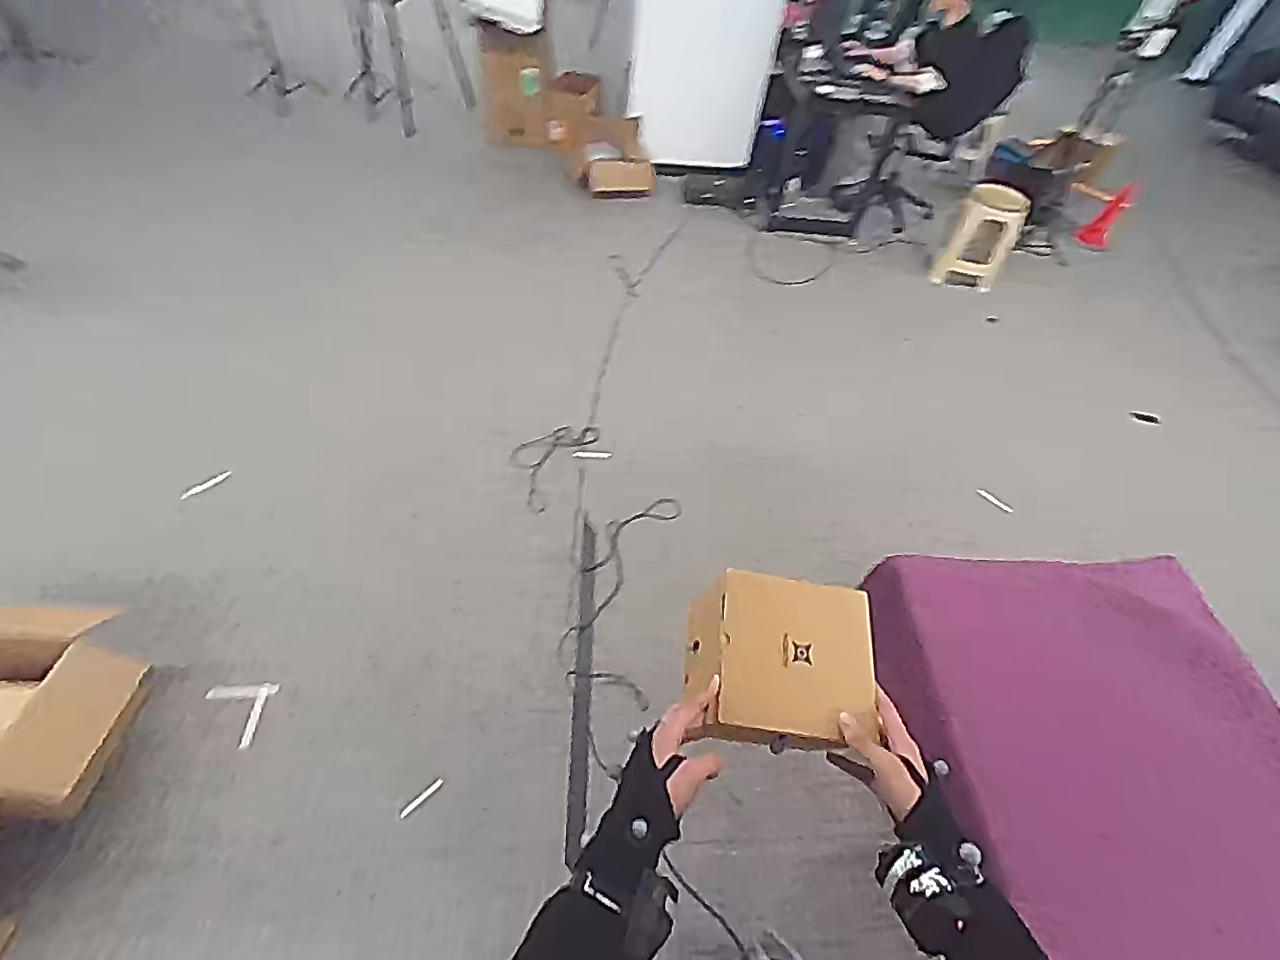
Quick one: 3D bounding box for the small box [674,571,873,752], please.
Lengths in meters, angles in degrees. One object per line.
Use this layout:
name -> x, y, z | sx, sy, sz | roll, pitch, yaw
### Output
small box -> 0.149, 0.224, 0.646 | 0.179, 0.176, 0.168 | 10, 61, -5

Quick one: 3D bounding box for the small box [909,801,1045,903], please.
small box -> 0.744, 0.839, 1.220 | 0.168, 0.176, 0.179 | 1, 54, -7
